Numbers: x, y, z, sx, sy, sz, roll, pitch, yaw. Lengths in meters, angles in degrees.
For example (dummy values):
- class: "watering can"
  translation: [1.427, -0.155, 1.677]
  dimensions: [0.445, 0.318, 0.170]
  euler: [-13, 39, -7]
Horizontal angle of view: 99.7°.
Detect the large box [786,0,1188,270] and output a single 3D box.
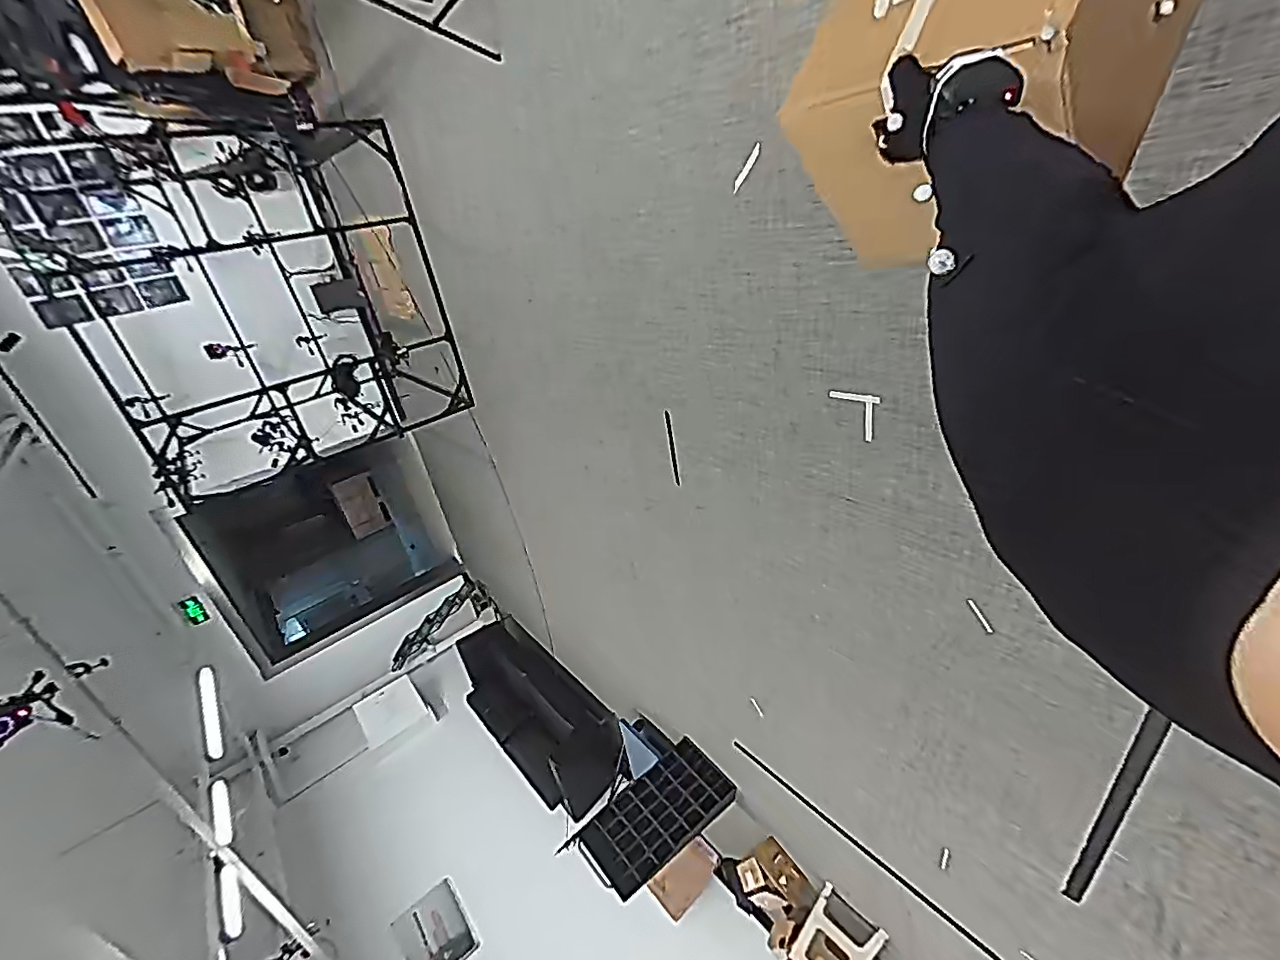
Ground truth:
- class: "large box"
  translation: [0.467, -0.550, 0.722]
  dimensions: [0.320, 0.408, 0.320]
  euler: [28, 175, -41]
